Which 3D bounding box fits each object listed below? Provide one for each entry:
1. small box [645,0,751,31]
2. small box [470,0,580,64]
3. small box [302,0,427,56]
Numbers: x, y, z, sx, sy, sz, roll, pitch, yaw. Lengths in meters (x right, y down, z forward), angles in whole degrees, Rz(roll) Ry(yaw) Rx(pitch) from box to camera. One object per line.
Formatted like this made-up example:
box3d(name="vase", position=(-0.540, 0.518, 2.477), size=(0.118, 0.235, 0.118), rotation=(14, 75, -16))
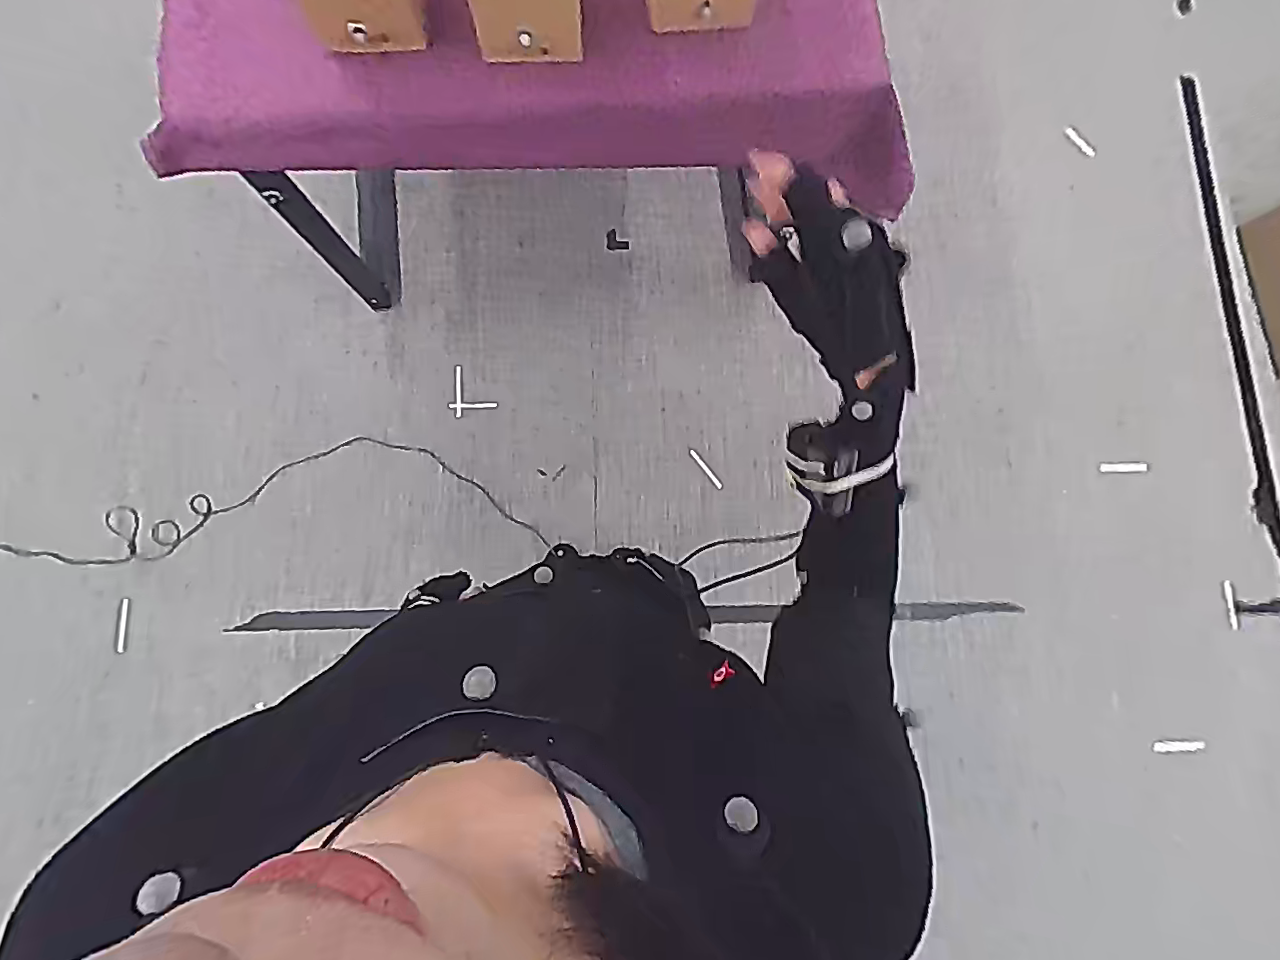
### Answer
box3d(name="small box", position=(0.098, -0.866, 0.863), size=(0.179, 0.176, 0.168), rotation=(-7, 82, -4))
box3d(name="small box", position=(-0.182, -0.797, 0.839), size=(0.168, 0.176, 0.179), rotation=(-3, 83, -3))
box3d(name="small box", position=(-0.440, -0.804, 0.829), size=(0.168, 0.176, 0.179), rotation=(-6, 83, -3))
